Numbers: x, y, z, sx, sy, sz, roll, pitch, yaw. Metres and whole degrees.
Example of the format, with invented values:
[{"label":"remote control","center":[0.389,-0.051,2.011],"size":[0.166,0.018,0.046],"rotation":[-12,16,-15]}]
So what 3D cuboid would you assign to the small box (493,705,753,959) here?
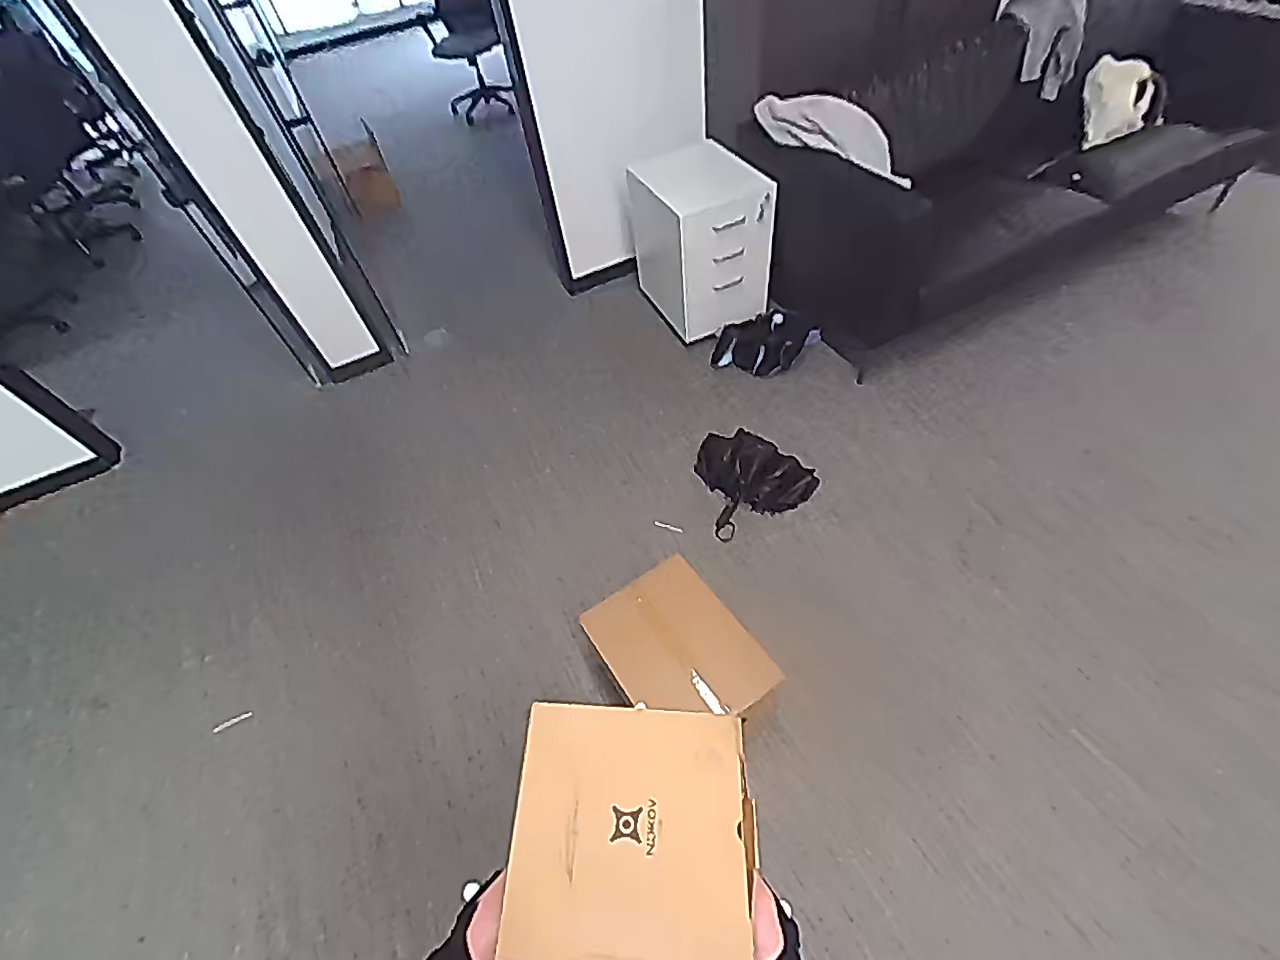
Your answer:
[{"label":"small box","center":[-0.011,0.306,0.467],"size":[0.179,0.176,0.168],"rotation":[3,53,-1]}]
